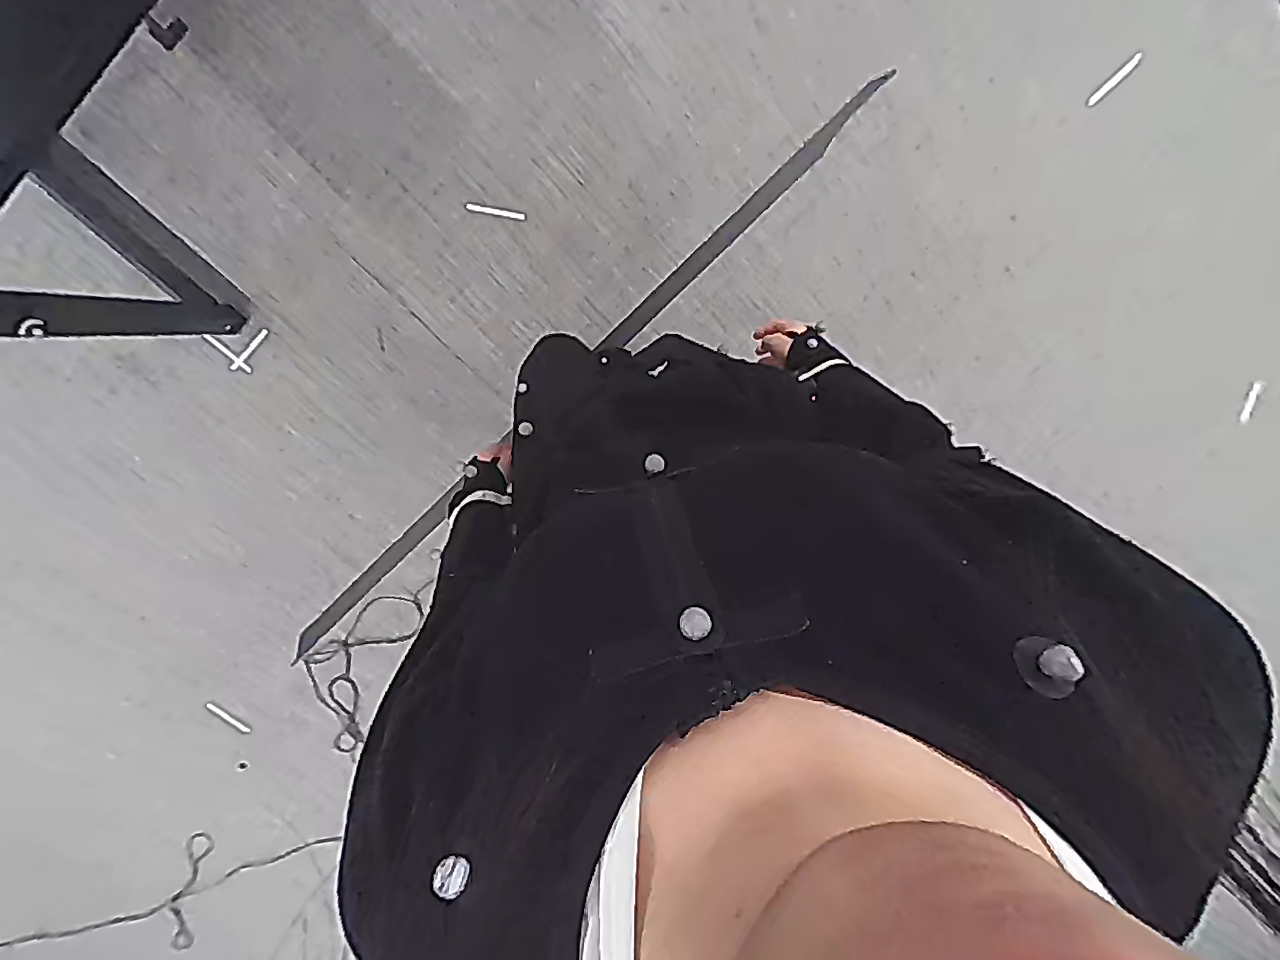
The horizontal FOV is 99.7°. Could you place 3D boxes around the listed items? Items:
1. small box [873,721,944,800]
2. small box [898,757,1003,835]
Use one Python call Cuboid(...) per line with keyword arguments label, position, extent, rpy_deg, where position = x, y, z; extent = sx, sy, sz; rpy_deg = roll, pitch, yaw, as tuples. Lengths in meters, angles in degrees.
Cuboid(label="small box", position=(0.896, 0.938, 1.768), extent=(0.179, 0.176, 0.168), rpy_deg=(-44, 104, 7))
Cuboid(label="small box", position=(0.914, 0.974, 1.608), extent=(0.179, 0.176, 0.168), rpy_deg=(-41, 104, 6))
